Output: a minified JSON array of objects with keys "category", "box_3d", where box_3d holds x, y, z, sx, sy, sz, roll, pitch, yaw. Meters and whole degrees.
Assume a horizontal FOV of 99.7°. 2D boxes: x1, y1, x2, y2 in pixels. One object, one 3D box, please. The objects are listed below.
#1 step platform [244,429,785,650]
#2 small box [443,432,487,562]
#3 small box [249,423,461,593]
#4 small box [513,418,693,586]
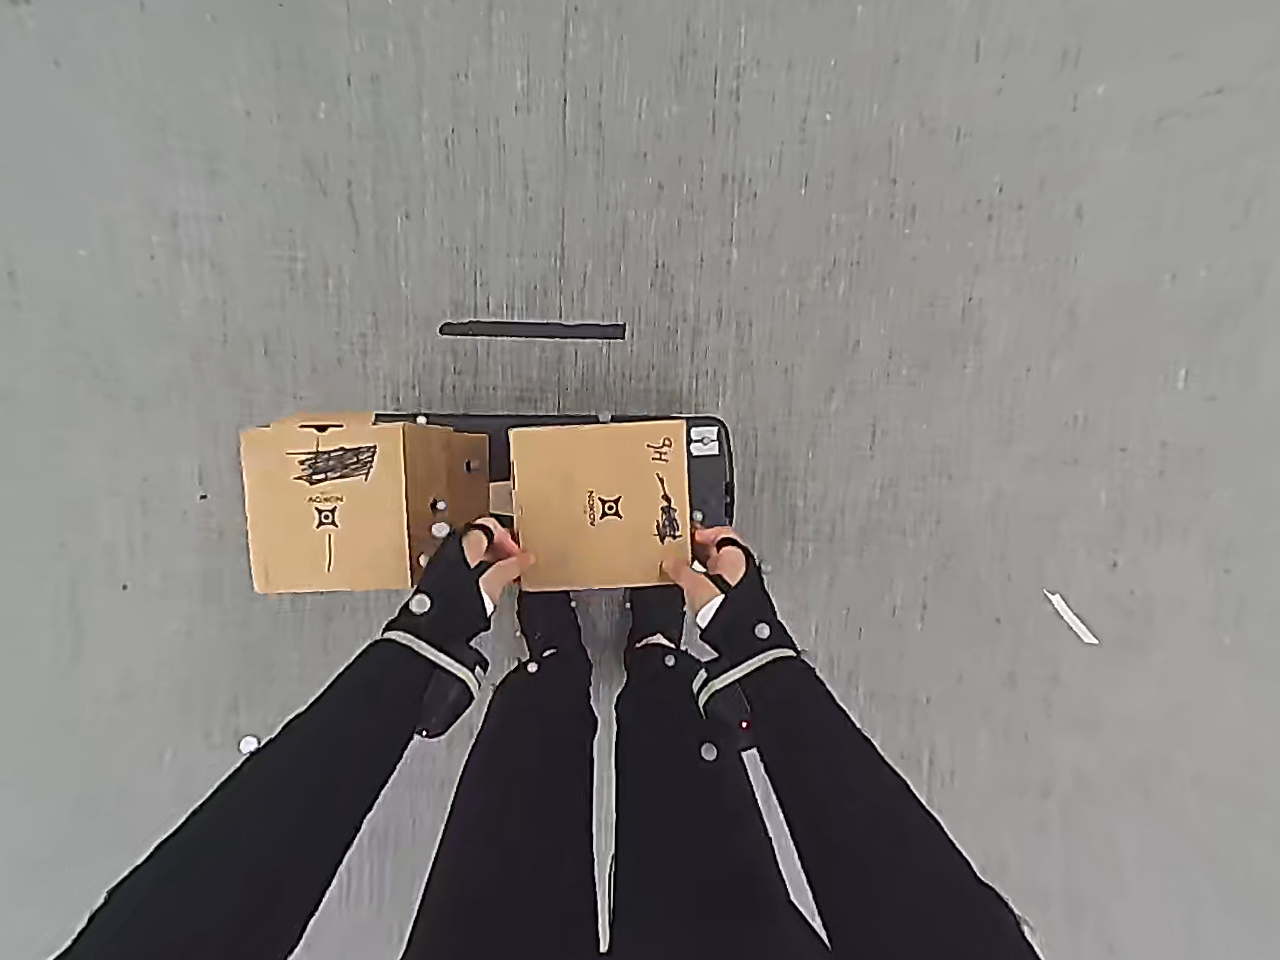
[{"category":"step platform","box_3d":[-0.156,0.070,0.775,0.684,0.204,0.286,0,94,-2]},{"category":"small box","box_3d":[-0.321,0.019,0.801,0.168,0.176,0.179,0,94,-1]},{"category":"small box","box_3d":[-0.318,0.025,0.637,0.168,0.176,0.179,-1,95,-2]},{"category":"small box","box_3d":[-0.034,0.017,0.616,0.179,0.176,0.168,-3,96,1]}]
